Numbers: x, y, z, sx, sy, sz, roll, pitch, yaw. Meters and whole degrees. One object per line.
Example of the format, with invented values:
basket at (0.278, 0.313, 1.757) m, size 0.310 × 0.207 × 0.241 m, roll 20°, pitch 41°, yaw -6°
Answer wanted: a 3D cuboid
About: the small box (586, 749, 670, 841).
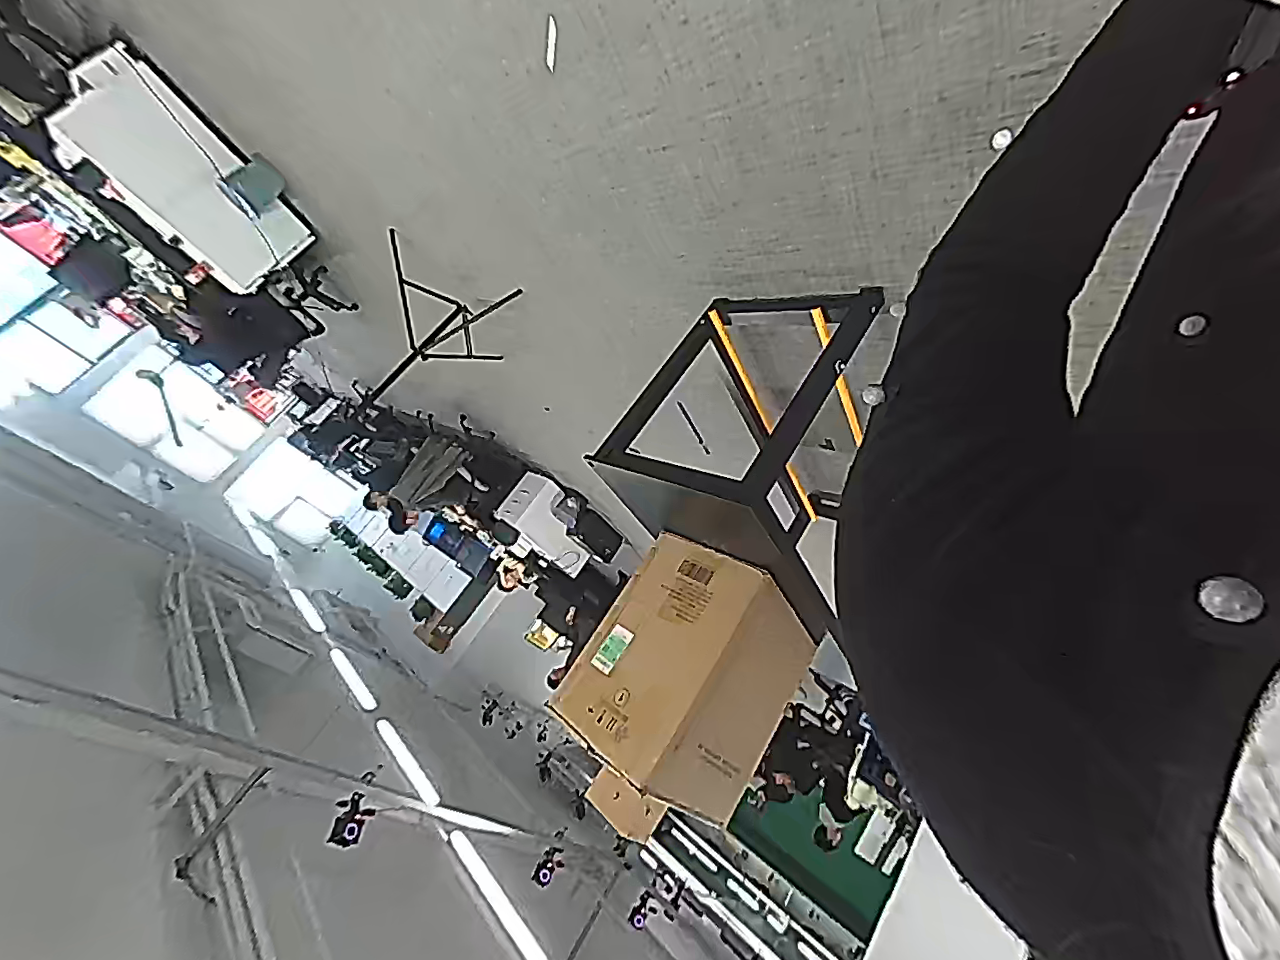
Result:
small box at (-0.029, 0.988, 1.704) m, size 0.179 × 0.176 × 0.168 m, roll 16°, pitch 154°, yaw 49°
